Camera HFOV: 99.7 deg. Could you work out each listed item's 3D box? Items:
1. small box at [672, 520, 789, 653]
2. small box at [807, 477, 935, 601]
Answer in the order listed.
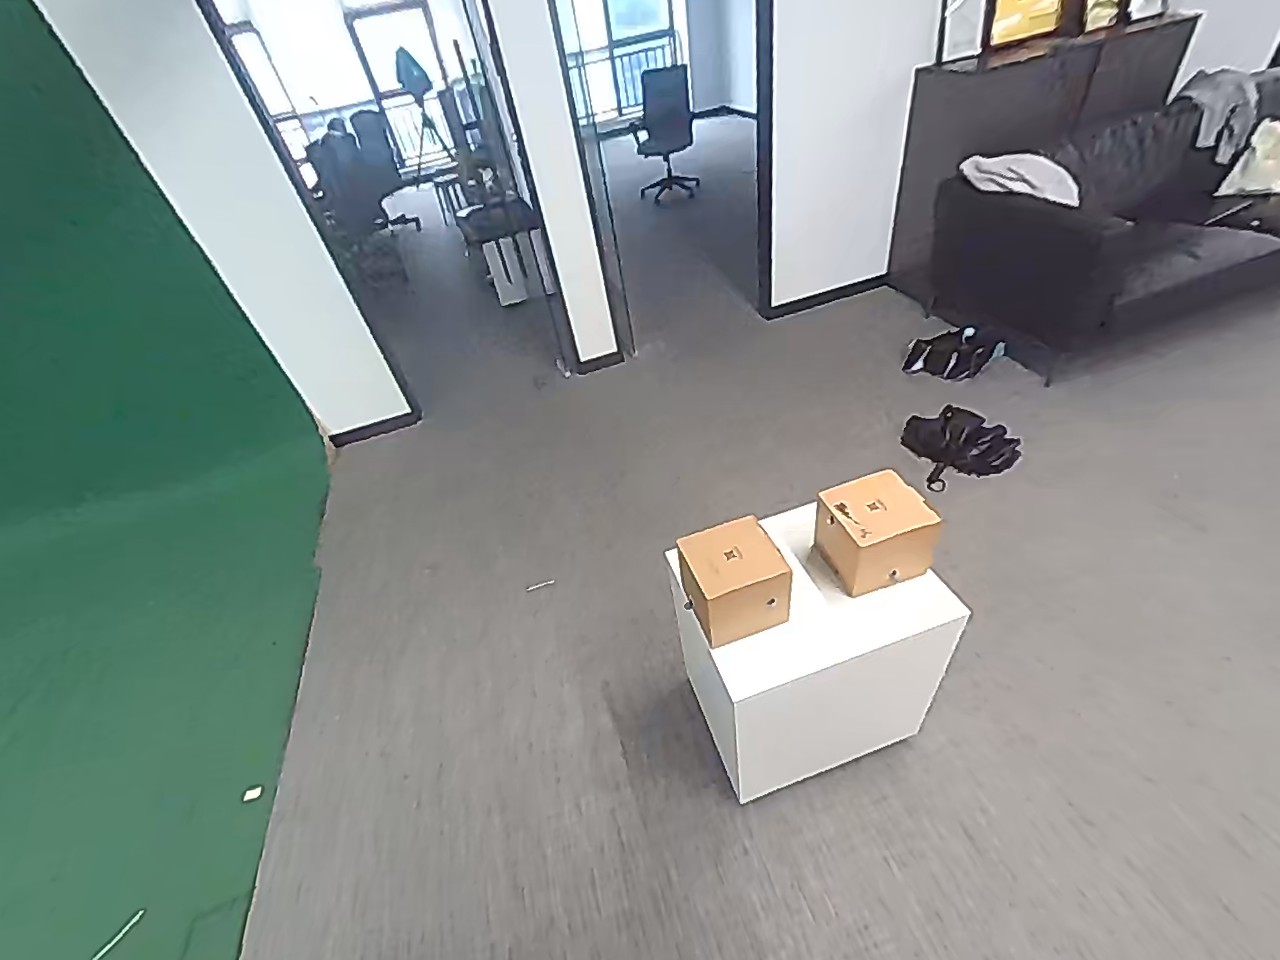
[{"bbox_3d":[0.176,0.213,1.085,0.179,0.176,0.168,-18,40,-11],"label":"small box"},{"bbox_3d":[0.473,0.125,1.136,0.179,0.176,0.168,-16,41,-9],"label":"small box"}]
